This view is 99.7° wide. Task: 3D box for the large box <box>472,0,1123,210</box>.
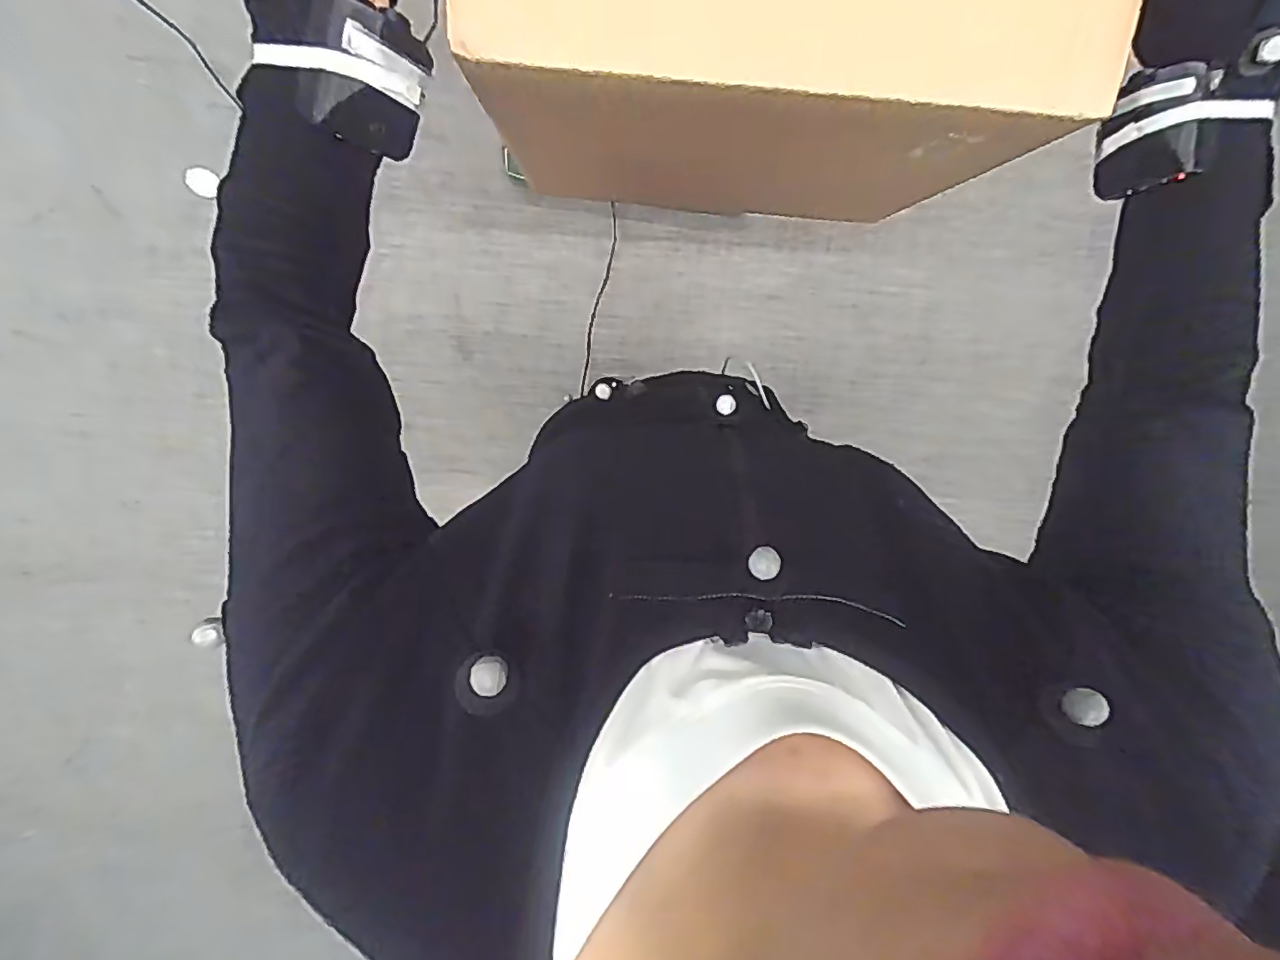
[{"bbox_3d":[0.094,-0.431,0.440,0.408,0.320,0.320,2,105,-4],"label":"large box"}]
